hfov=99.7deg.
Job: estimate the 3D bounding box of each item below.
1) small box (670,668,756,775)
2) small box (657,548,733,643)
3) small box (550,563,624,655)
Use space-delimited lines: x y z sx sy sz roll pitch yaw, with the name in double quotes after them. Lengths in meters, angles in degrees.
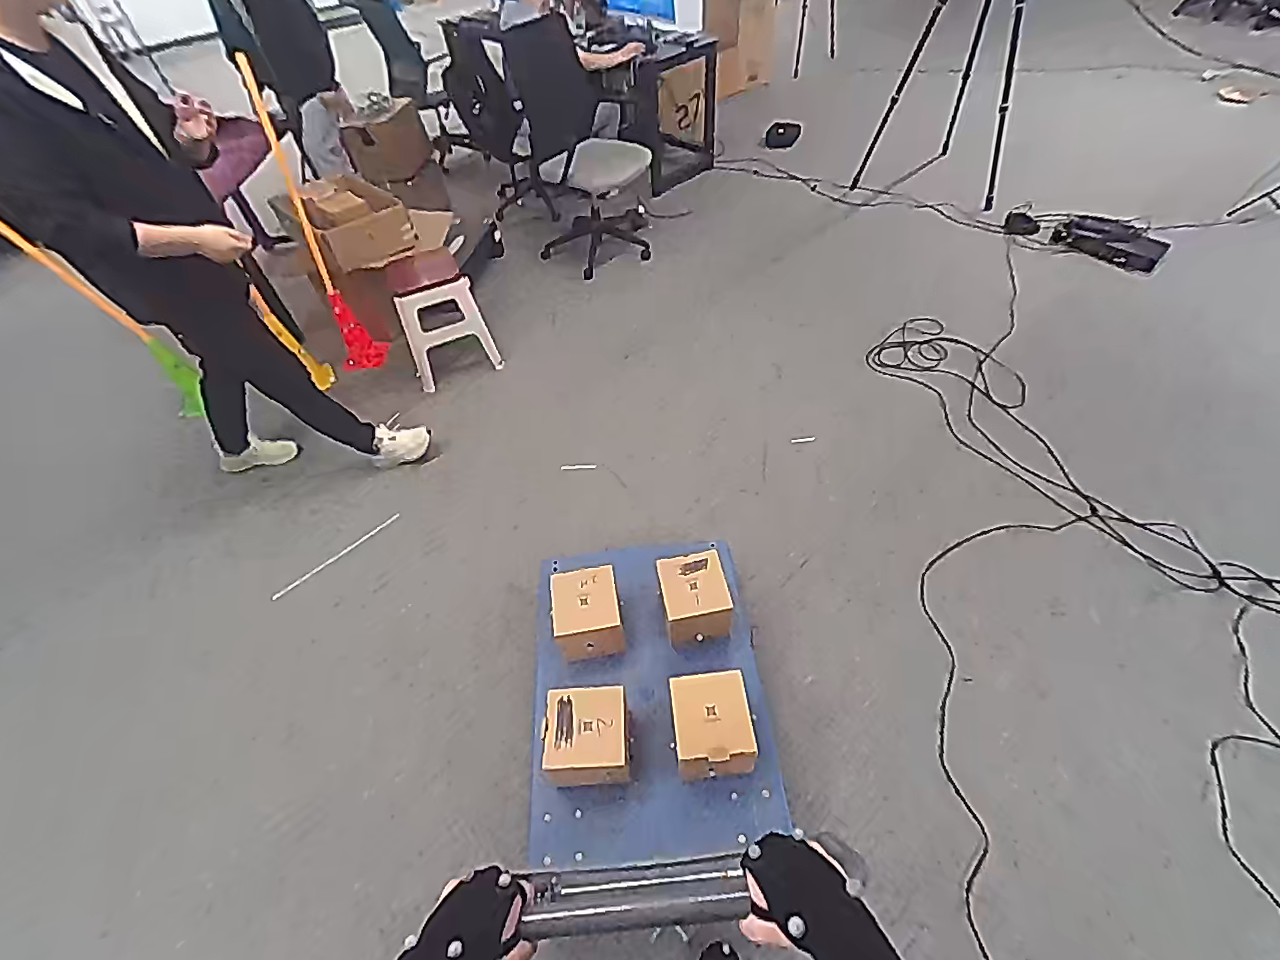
0.158 0.551 1.230 0.168 0.176 0.179 -7 51 0 "small box"
0.139 0.308 1.431 0.168 0.176 0.179 -10 51 -3 "small box"
-0.138 0.345 1.423 0.168 0.176 0.179 -8 50 -3 "small box"
